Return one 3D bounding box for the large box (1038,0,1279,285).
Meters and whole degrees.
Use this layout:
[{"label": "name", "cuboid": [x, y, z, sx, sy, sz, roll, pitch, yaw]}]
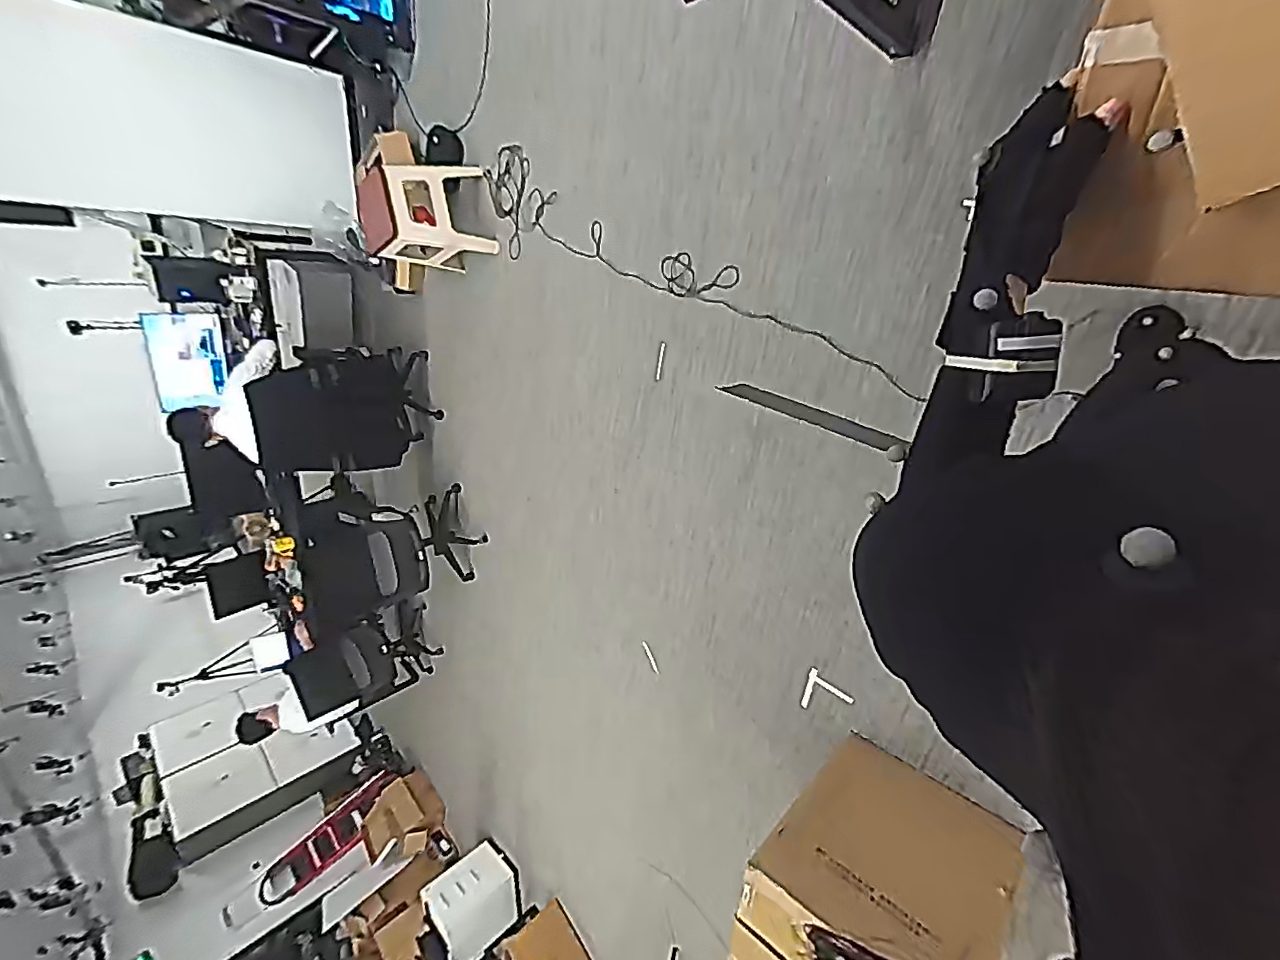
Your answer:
[{"label": "large box", "cuboid": [0.559, -0.308, 0.345, 0.408, 0.320, 0.320, 22, 129, 38]}]
